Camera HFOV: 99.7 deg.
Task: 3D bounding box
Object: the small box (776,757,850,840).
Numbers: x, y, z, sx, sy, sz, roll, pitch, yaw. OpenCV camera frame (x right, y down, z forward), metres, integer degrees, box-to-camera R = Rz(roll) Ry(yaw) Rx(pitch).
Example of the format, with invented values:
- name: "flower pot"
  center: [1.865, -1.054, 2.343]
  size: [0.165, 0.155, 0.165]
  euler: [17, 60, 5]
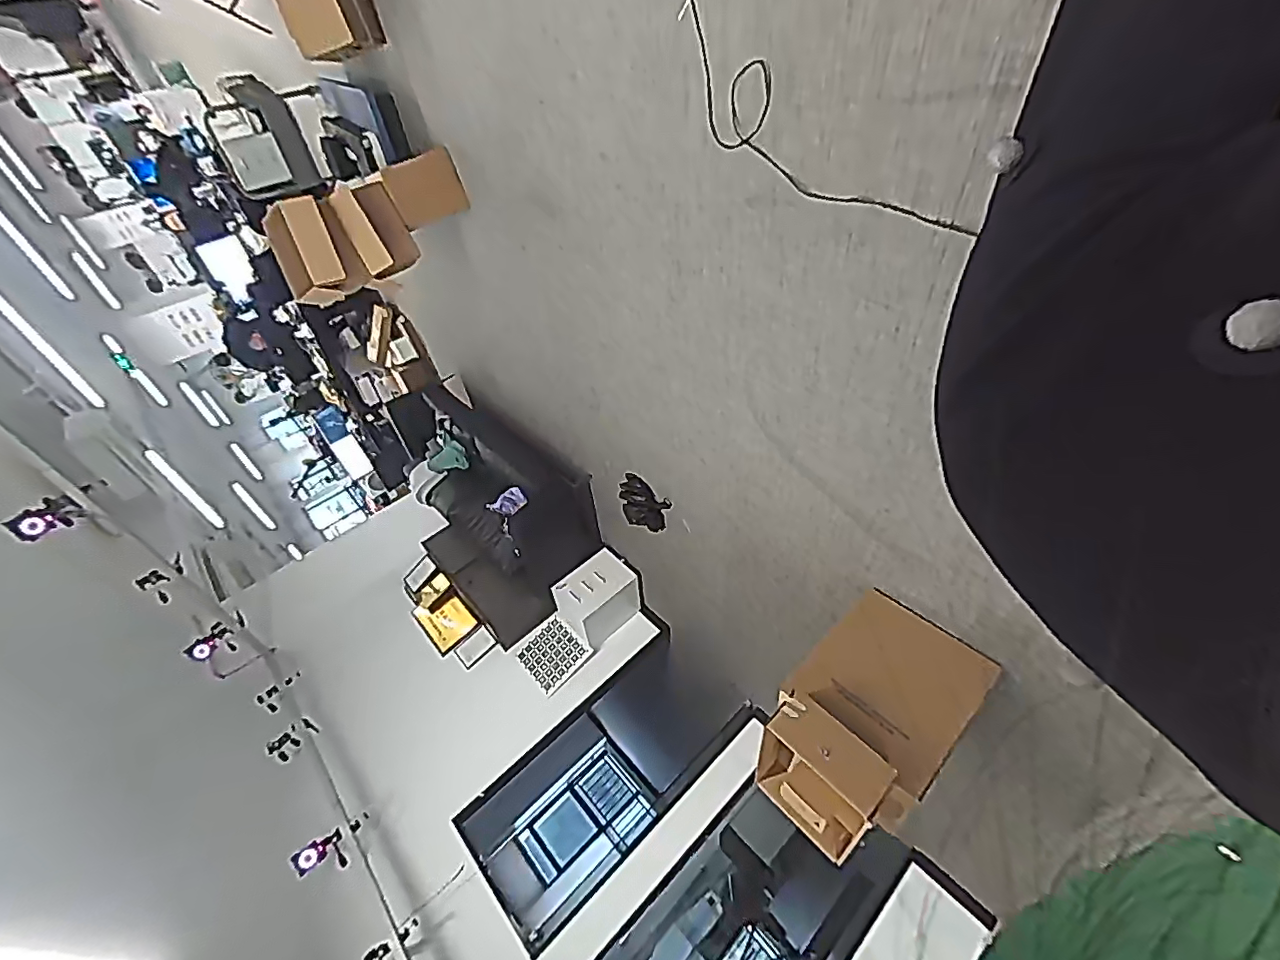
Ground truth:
- name: "small box"
  center: [0.603, 1.106, 1.893]
  size: [0.179, 0.176, 0.168]
  euler: [37, 150, 36]
